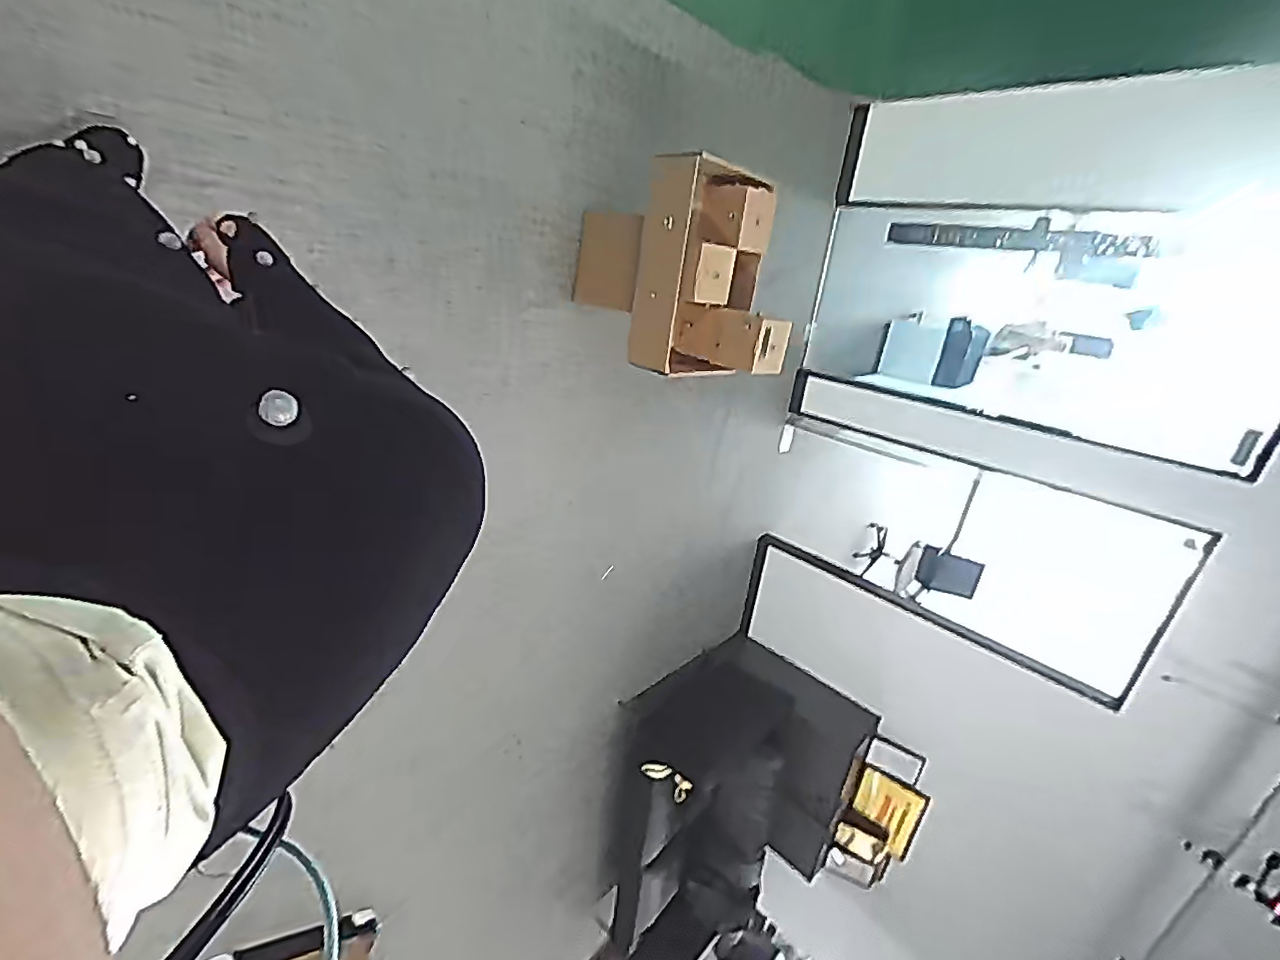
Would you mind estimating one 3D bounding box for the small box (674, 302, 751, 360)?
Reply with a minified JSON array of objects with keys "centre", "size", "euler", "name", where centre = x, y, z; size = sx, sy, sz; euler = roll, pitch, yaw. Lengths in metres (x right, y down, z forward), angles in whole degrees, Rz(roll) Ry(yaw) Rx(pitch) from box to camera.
[{"centre":[0.244,-0.506,1.836],"size":[0.179,0.176,0.168],"euler":[-12,120,-44],"name":"small box"}]
